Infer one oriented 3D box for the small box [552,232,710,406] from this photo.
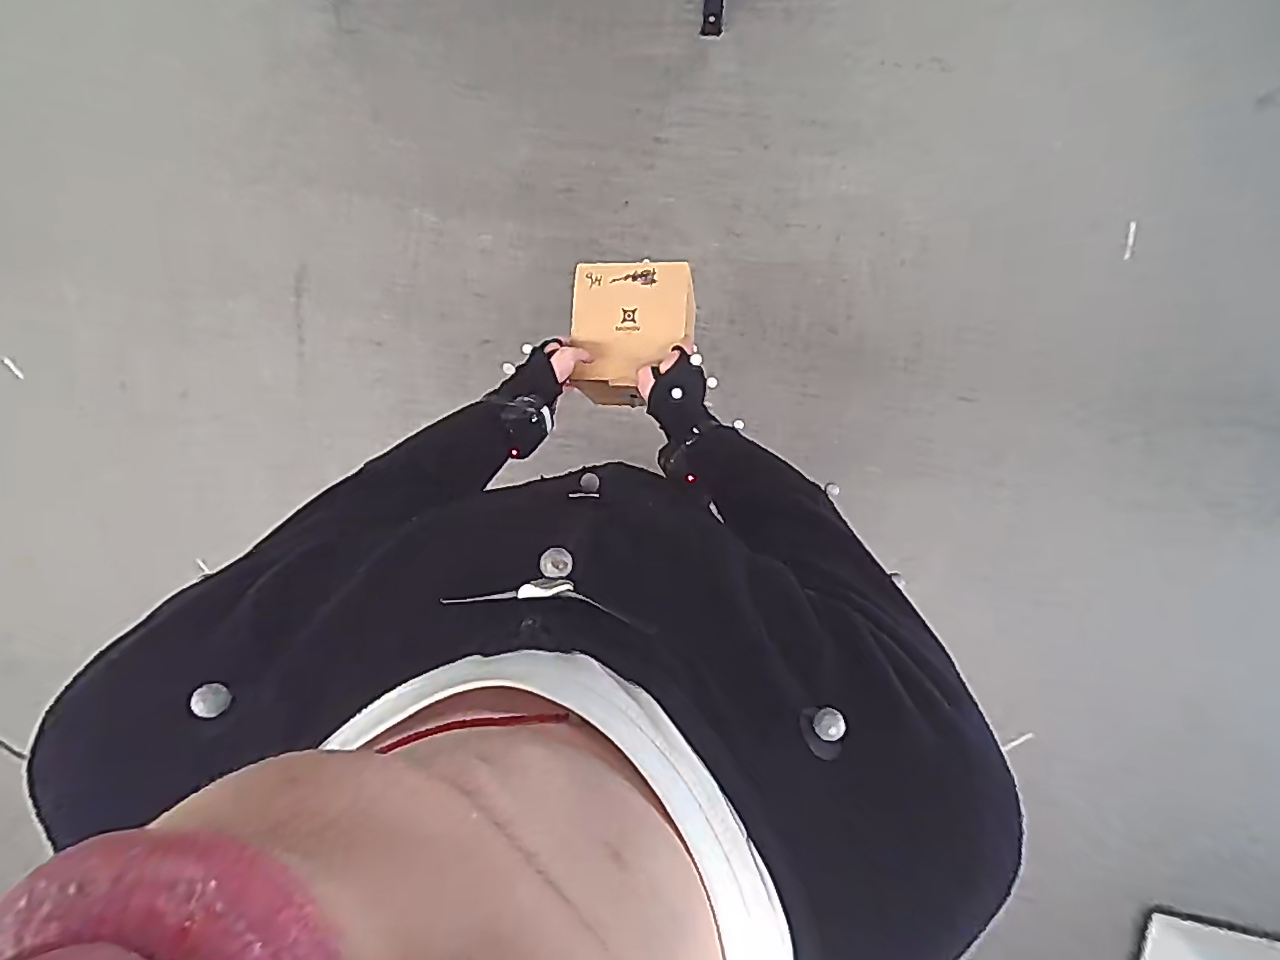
[{"bbox_3d":[-0.004,-0.235,0.842,0.179,0.176,0.168,-28,81,8],"label":"small box"}]
